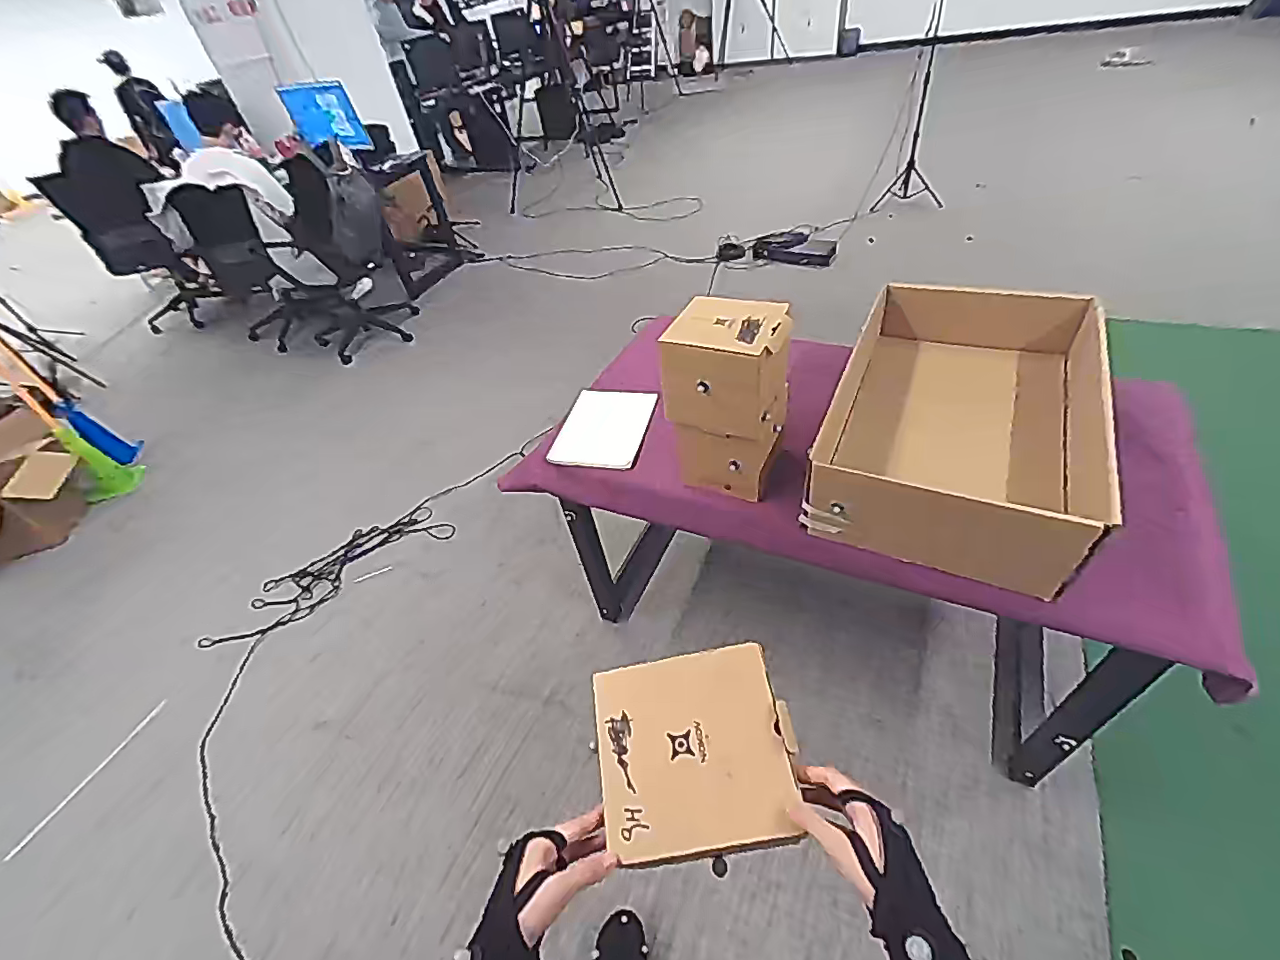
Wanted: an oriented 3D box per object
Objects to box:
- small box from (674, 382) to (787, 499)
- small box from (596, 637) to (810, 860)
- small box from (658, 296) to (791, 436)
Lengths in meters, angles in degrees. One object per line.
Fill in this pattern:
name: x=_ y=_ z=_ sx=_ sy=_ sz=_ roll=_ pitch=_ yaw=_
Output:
small box: x=0.183 y=-0.088 z=1.064 sx=0.168 sy=0.176 sz=0.179 roll=15 pitch=49 yaw=24
small box: x=0.060 y=0.284 z=0.563 sx=0.179 sy=0.176 sz=0.168 roll=-12 pitch=52 yaw=3
small box: x=0.151 y=-0.199 z=0.947 sx=0.179 sy=0.176 sz=0.168 roll=15 pitch=49 yaw=24
